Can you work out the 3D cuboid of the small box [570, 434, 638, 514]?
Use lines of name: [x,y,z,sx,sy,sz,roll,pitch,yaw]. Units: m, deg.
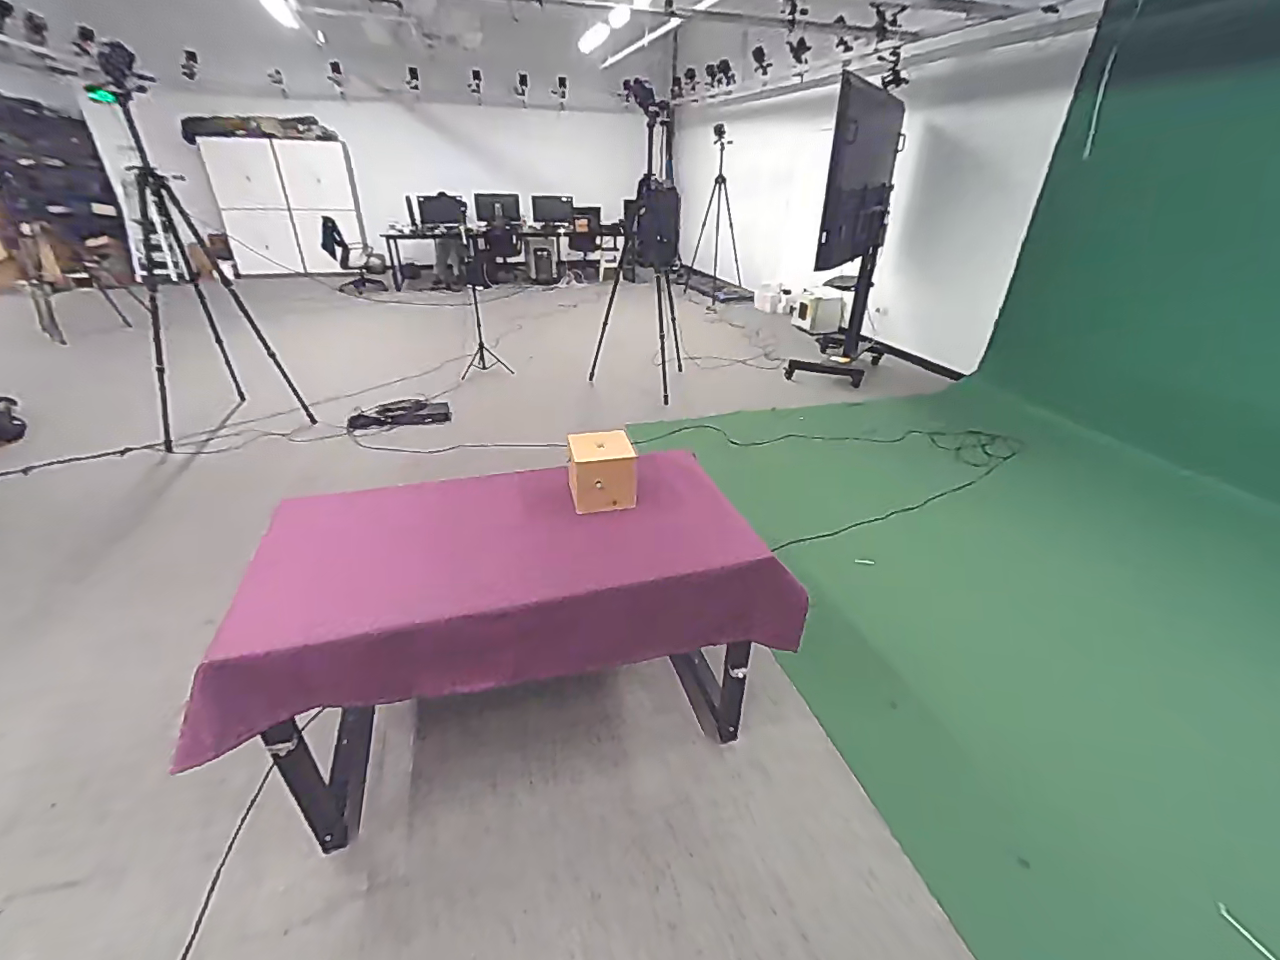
small box: [-0.101,-0.013,1.524,0.168,0.176,0.179,-7,29,-11]
